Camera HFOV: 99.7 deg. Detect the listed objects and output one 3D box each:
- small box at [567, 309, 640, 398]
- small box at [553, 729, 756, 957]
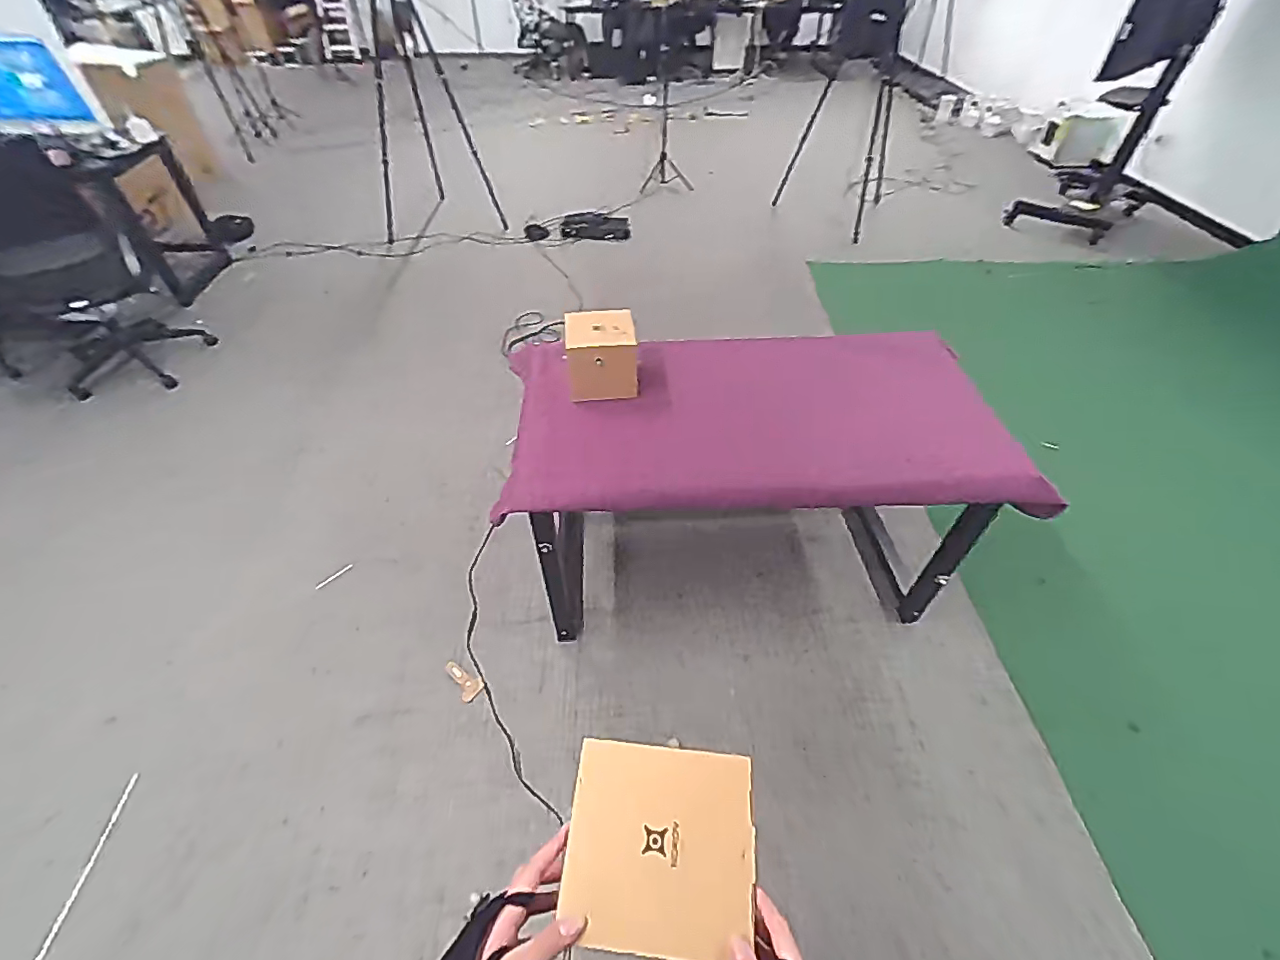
[{"bbox_3d":[-0.094,-0.328,1.420,0.179,0.176,0.168,-4,48,-4],"label":"small box"},{"bbox_3d":[0.019,0.377,0.566,0.179,0.176,0.168,5,52,3],"label":"small box"}]
